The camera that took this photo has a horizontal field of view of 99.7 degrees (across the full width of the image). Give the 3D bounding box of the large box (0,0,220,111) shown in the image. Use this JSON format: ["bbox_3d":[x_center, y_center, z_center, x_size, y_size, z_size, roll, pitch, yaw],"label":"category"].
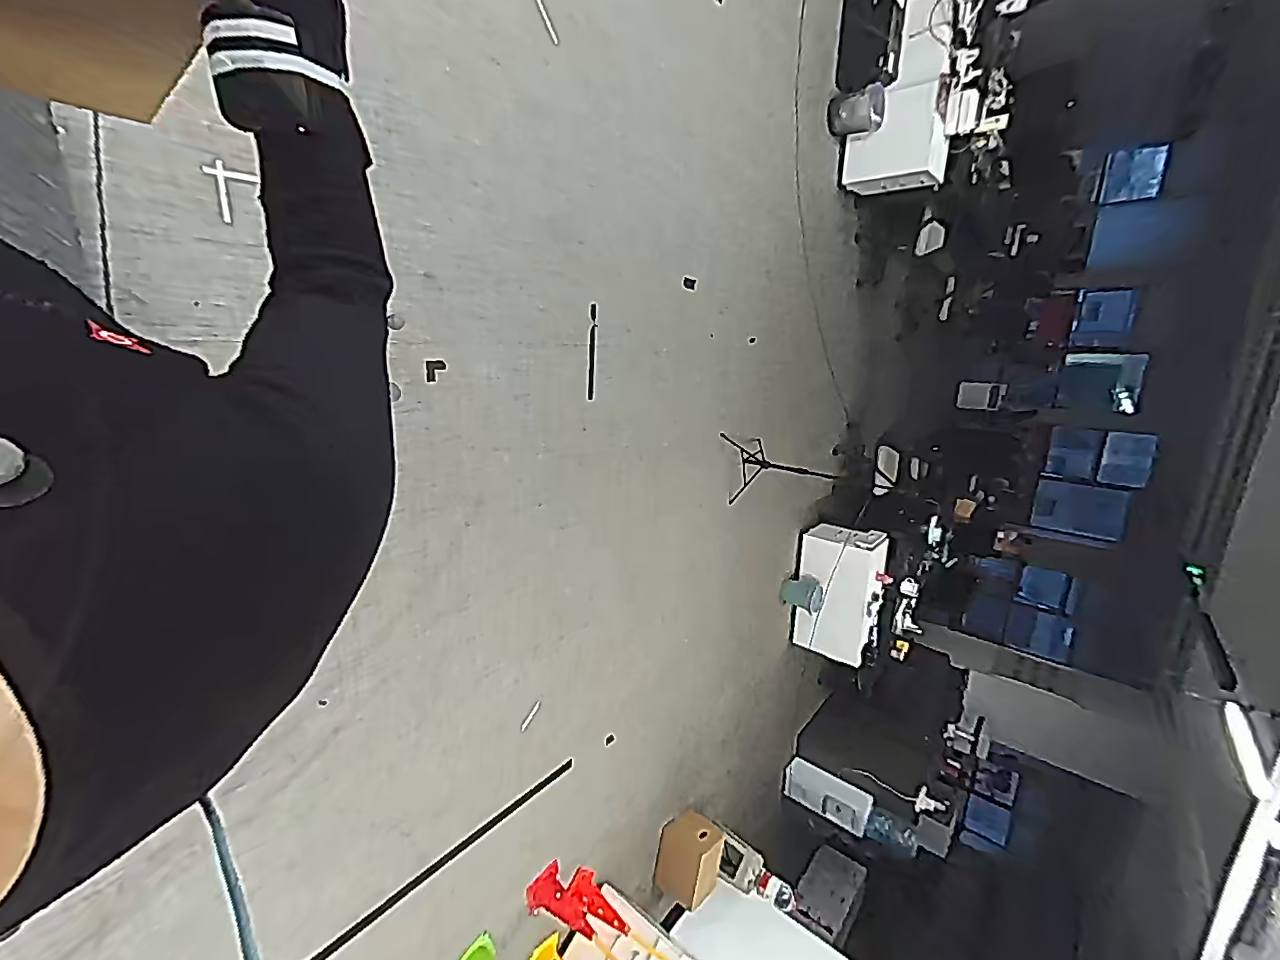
[{"bbox_3d":[-0.487,-0.447,0.248,0.408,0.320,0.320,-15,108,-49],"label":"large box"}]
